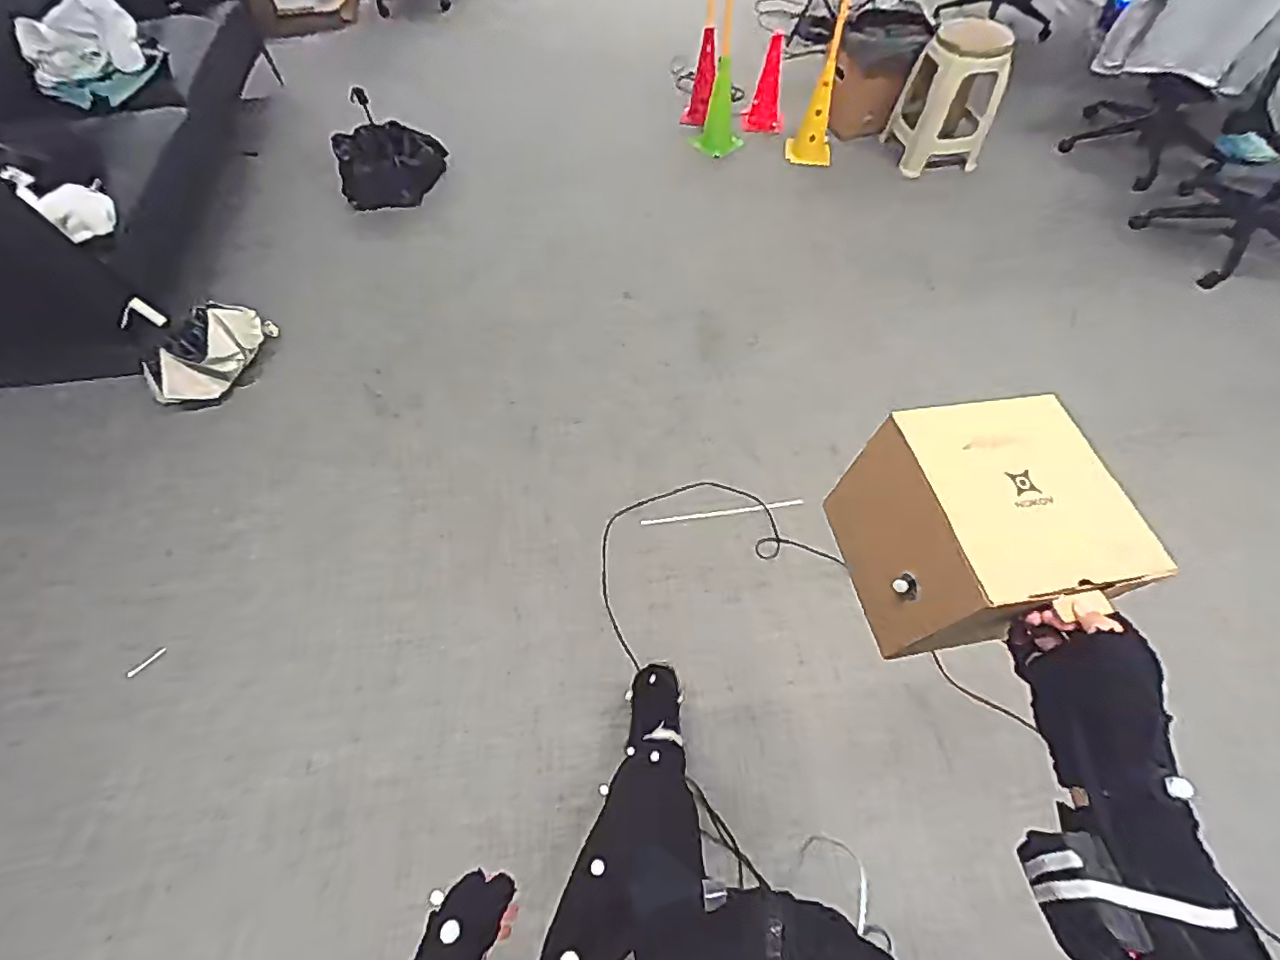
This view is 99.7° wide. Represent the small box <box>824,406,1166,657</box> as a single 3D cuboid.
[{"bbox_3d":[0.301,0.056,0.507,0.168,0.176,0.179,-7,59,-9],"label":"small box"}]
